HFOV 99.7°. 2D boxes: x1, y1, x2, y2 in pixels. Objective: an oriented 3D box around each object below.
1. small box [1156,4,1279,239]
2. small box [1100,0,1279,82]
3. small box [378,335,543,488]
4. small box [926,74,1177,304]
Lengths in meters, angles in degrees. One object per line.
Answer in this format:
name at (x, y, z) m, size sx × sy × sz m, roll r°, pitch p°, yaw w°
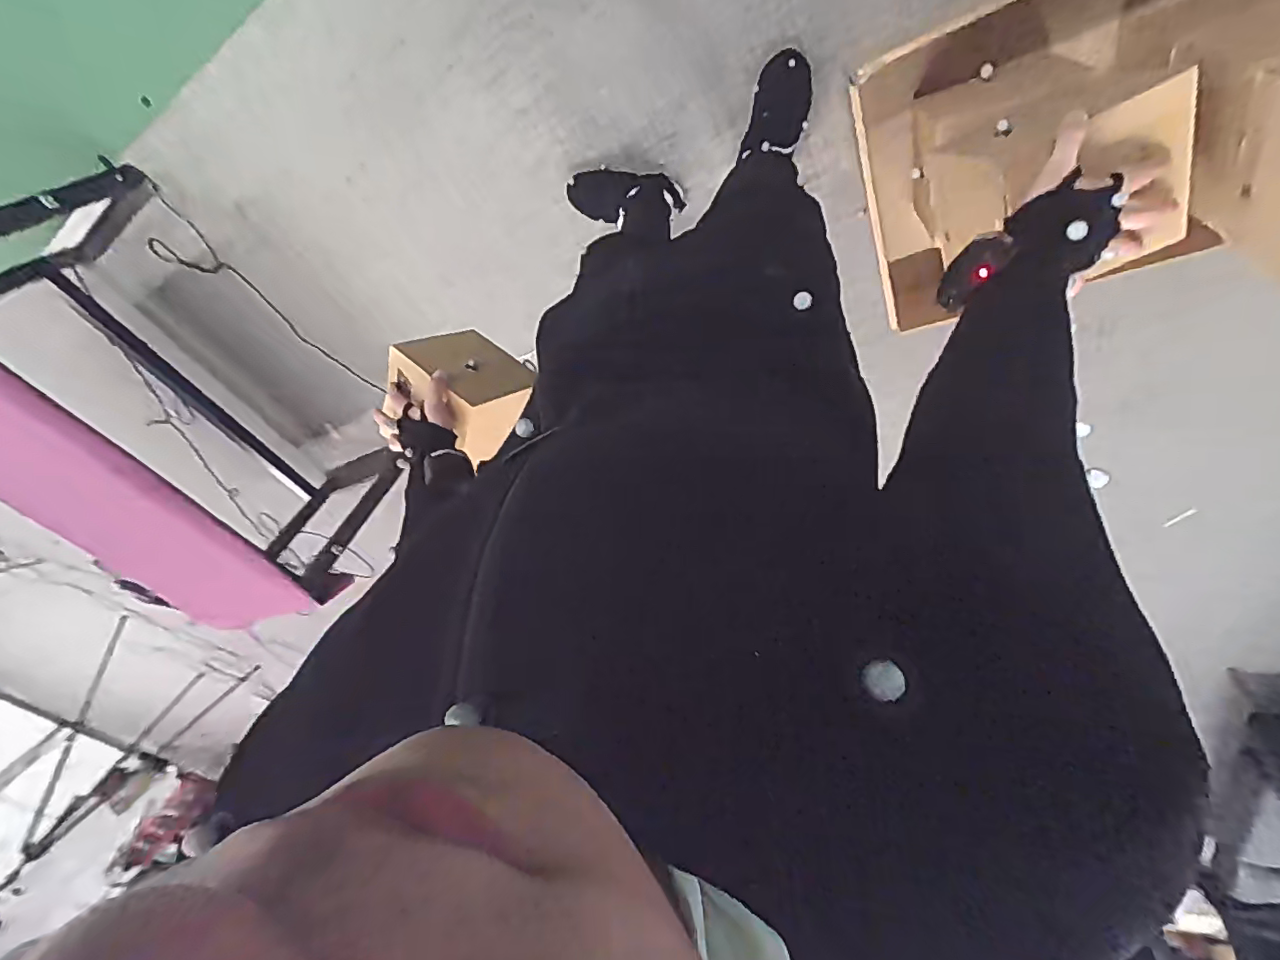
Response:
small box at (0.683, -0.392, 0.567) m, size 0.179 × 0.176 × 0.168 m, roll -11°, pitch 130°, yaw 26°
small box at (0.717, -0.504, 0.679) m, size 0.179 × 0.176 × 0.168 m, roll -11°, pitch 129°, yaw 25°
small box at (-0.291, -0.121, 0.880) m, size 0.179 × 0.176 × 0.168 m, roll 35°, pitch 126°, yaw 13°
small box at (0.461, -0.336, 0.636) m, size 0.179 × 0.176 × 0.168 m, roll -22°, pitch 121°, yaw 12°
